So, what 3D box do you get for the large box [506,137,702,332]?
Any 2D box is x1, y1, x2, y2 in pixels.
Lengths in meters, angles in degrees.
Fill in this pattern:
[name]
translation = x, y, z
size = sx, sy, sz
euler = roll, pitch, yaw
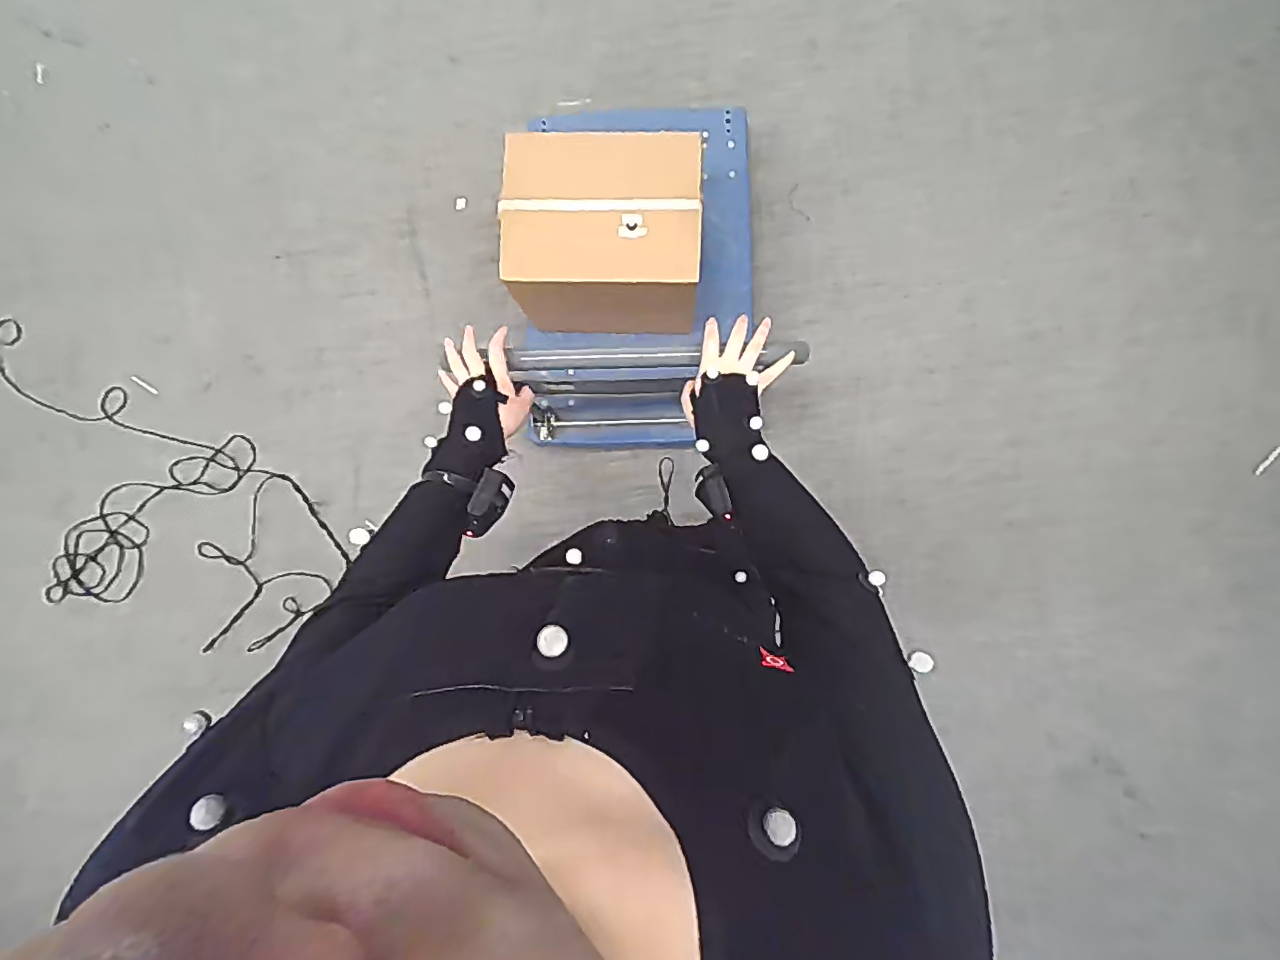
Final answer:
[large box]
translation = -0.072, -0.544, 1.254
size = 0.408, 0.320, 0.320
euler = 1, 86, 2
